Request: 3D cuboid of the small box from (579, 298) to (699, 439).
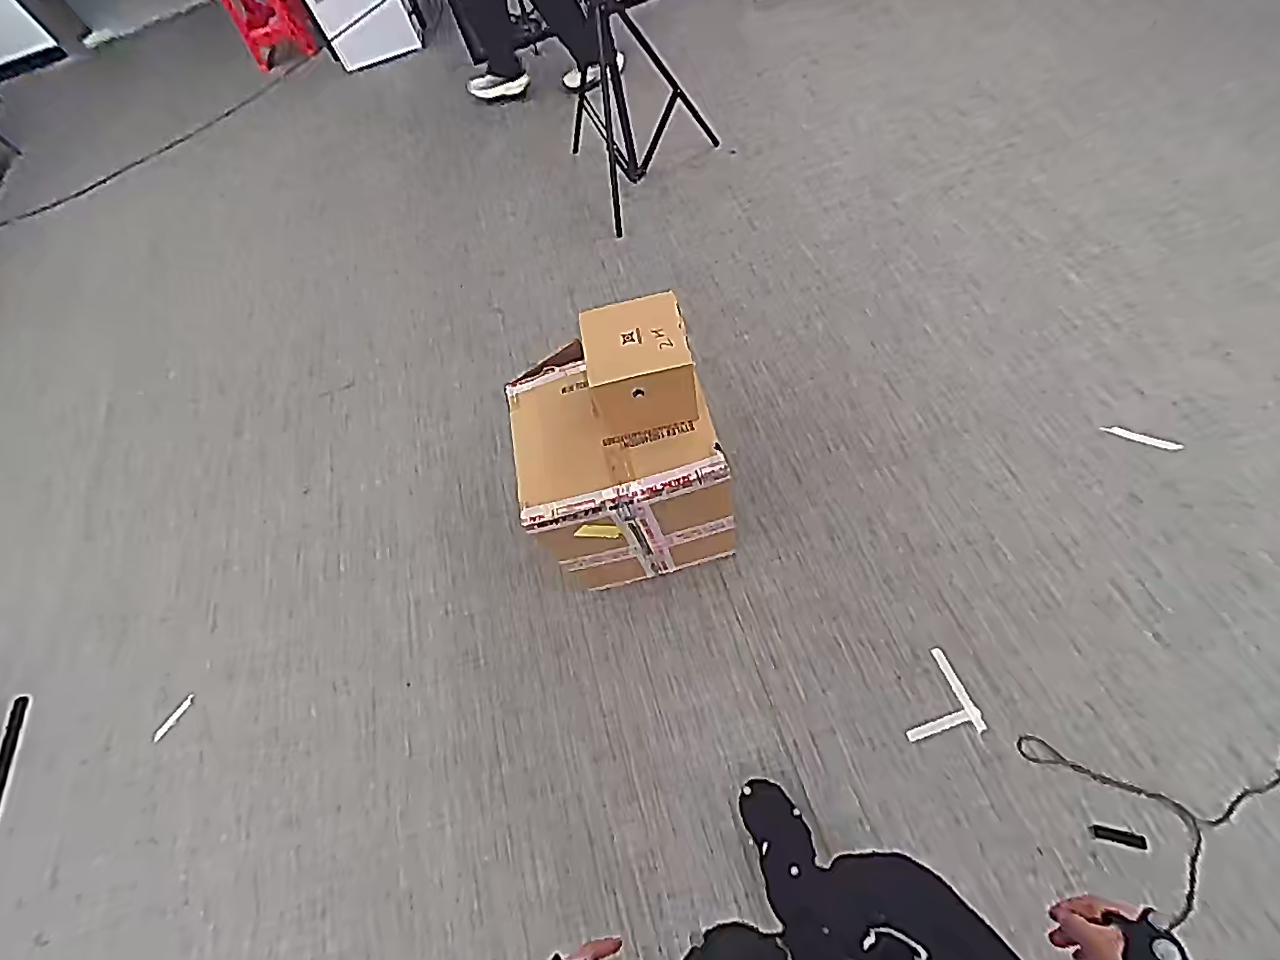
[{"bbox_3d":[0.002,-0.193,0.977,0.179,0.176,0.168,-12,63,4],"label":"small box"}]
